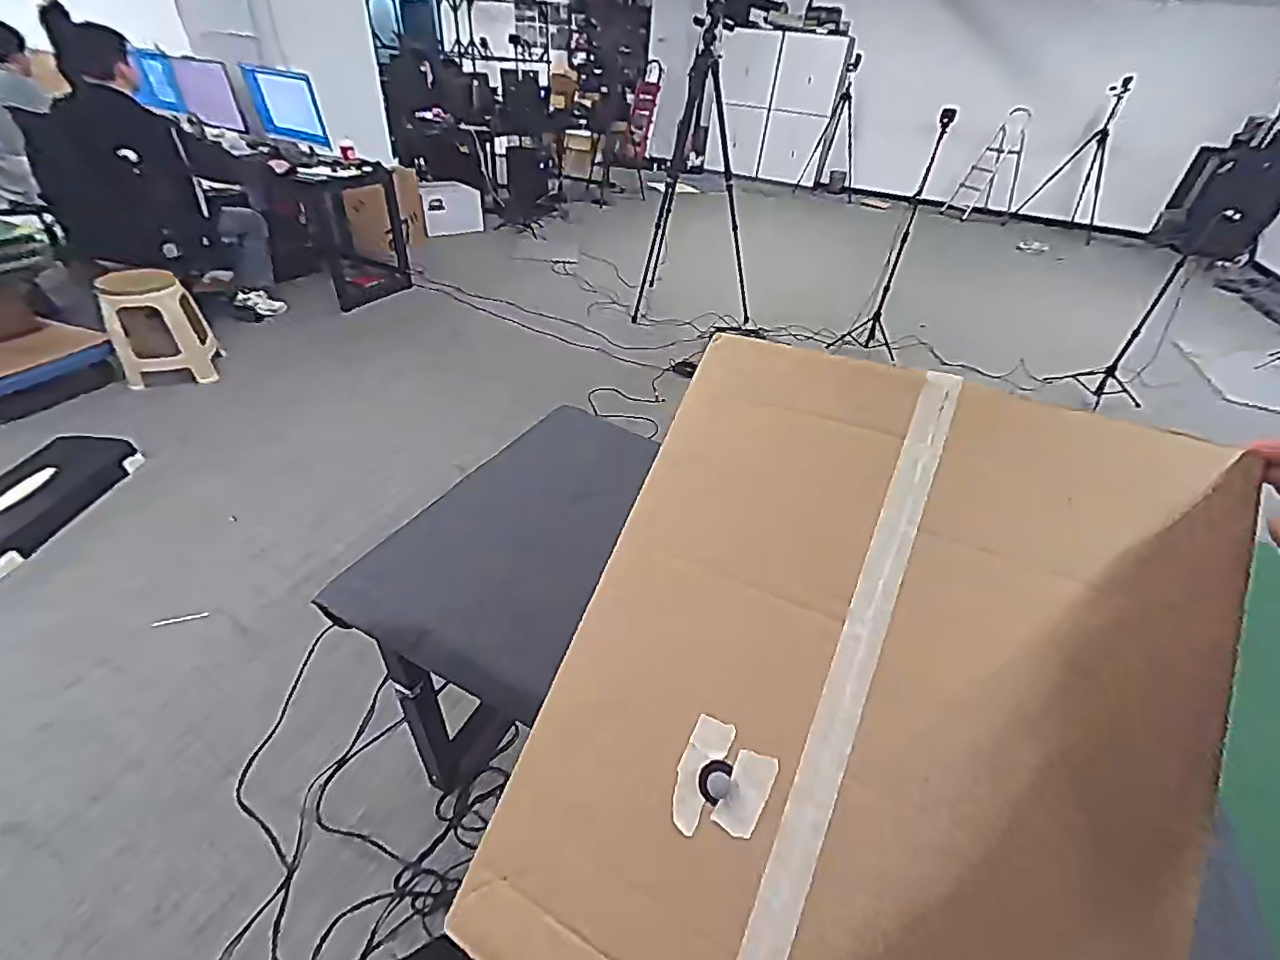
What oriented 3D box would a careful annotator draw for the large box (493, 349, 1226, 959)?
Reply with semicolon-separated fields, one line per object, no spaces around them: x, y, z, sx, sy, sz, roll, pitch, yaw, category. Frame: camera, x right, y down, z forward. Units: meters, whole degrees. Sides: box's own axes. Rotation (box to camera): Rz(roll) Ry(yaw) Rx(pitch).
0.155;0.169;0.445;0.320;0.320;0.408;18;76;20;large box
